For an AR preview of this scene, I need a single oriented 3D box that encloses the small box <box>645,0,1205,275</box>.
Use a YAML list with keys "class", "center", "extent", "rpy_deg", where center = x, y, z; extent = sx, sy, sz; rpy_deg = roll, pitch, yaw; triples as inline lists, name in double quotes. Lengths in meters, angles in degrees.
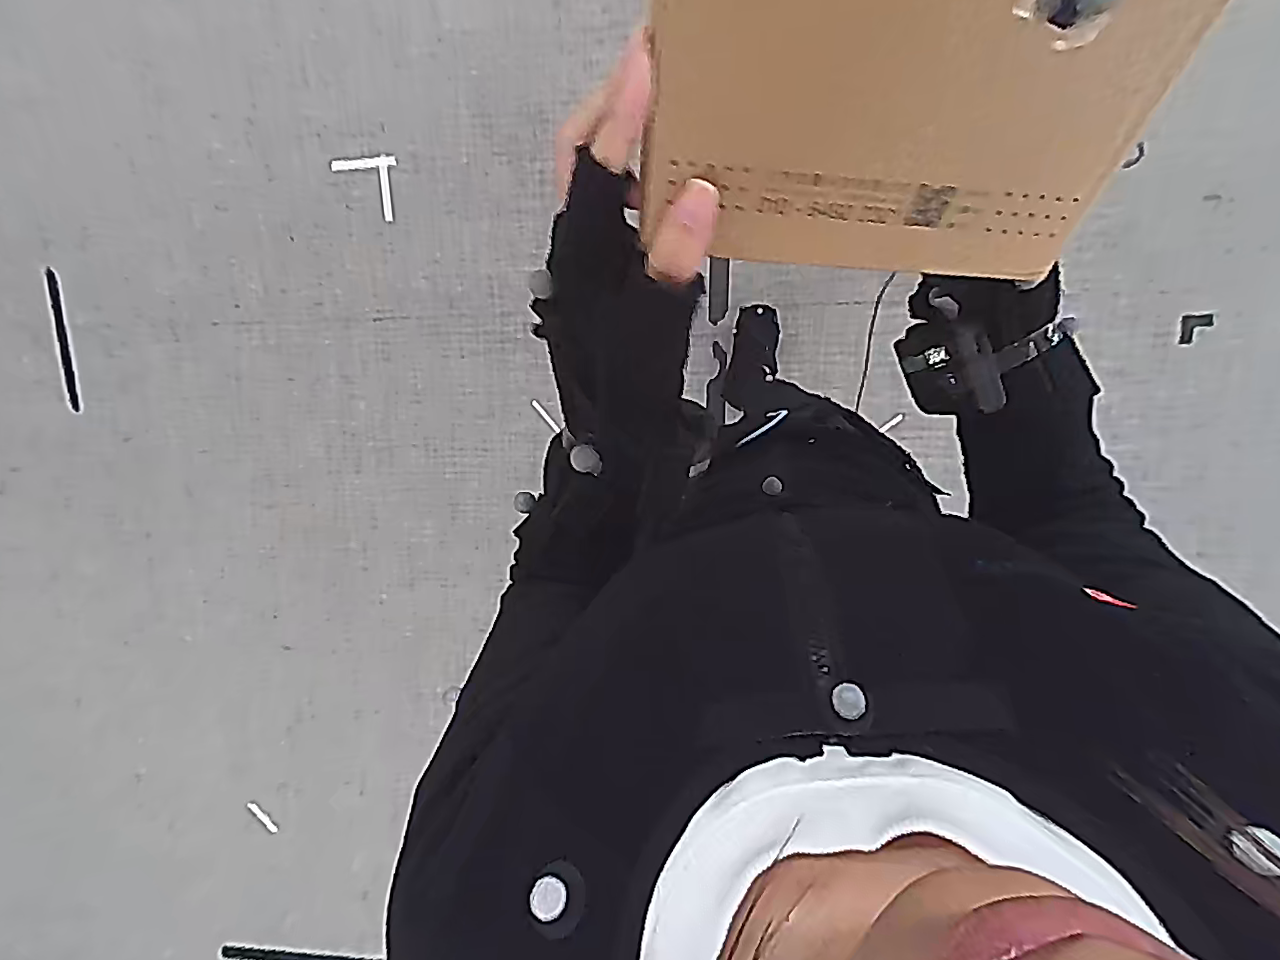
- class: "small box"
  center: [0.093, -0.201, 0.216]
  extent: [0.168, 0.179, 0.176]
  rpy_deg: [2, 138, -5]
